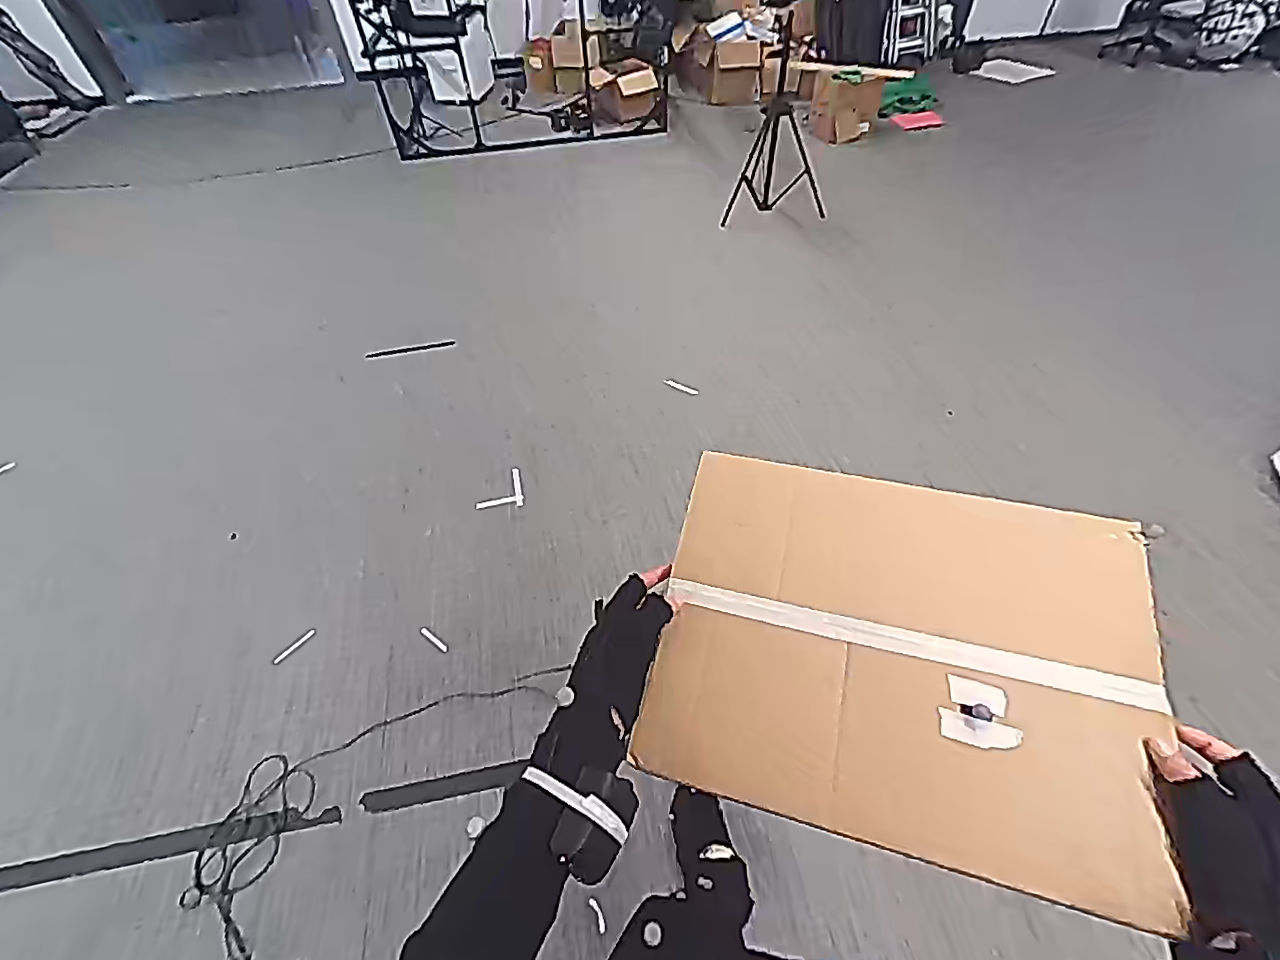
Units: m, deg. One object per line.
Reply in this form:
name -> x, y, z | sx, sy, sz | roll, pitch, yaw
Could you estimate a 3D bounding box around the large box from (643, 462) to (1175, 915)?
large box -> 0.245, 0.213, 0.619 | 0.408, 0.320, 0.320 | 11, 65, 14
